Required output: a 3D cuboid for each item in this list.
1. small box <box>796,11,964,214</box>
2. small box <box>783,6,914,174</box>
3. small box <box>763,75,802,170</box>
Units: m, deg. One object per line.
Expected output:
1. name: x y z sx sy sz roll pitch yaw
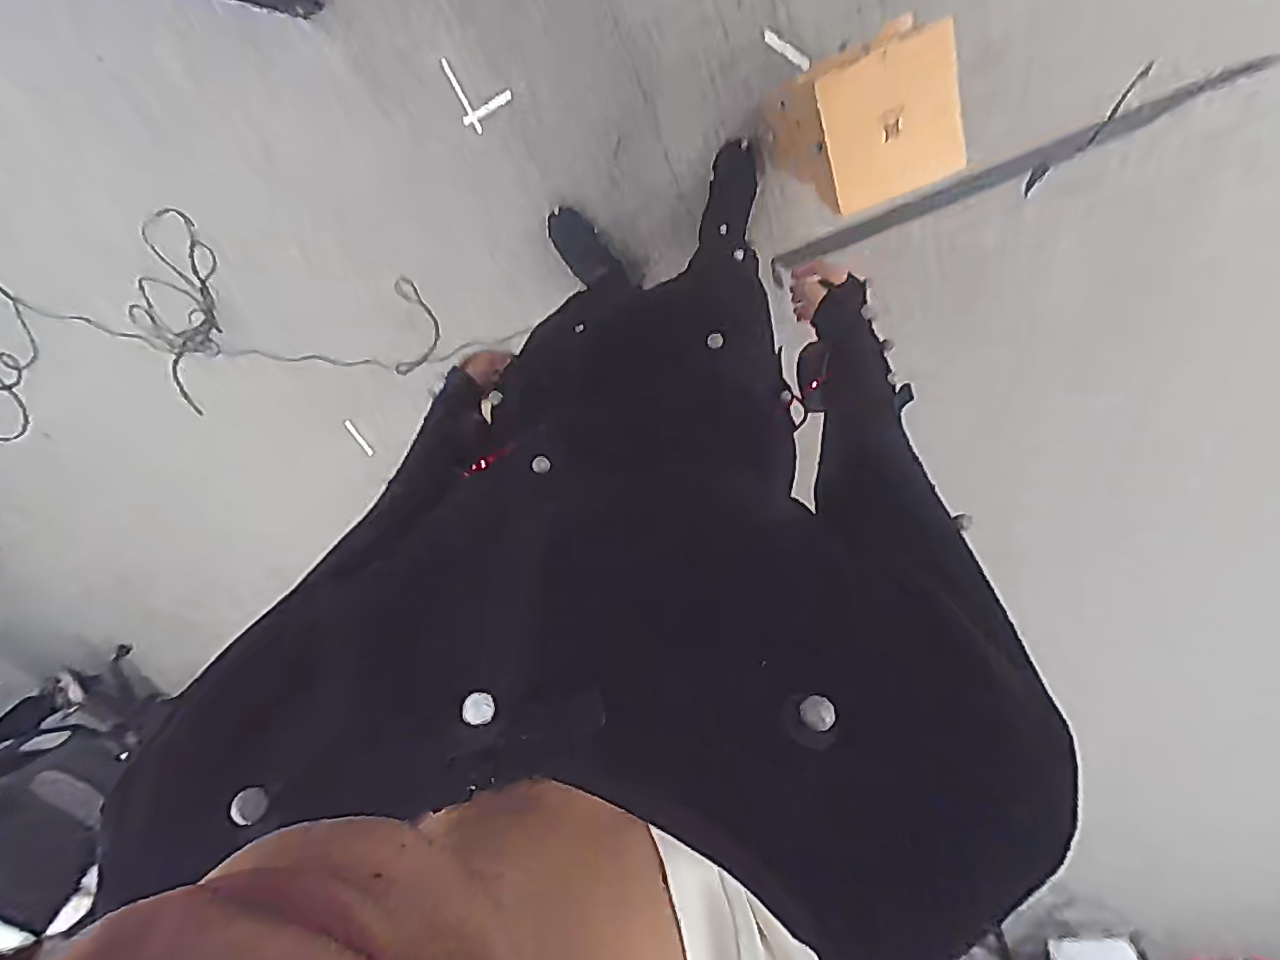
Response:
1. small box: 0.330 -0.509 0.763 0.168 0.176 0.179 -17 121 17
2. small box: 0.343 -0.618 0.884 0.179 0.176 0.168 -20 121 17
3. small box: 0.378 -0.796 1.159 0.179 0.176 0.168 -19 120 18
